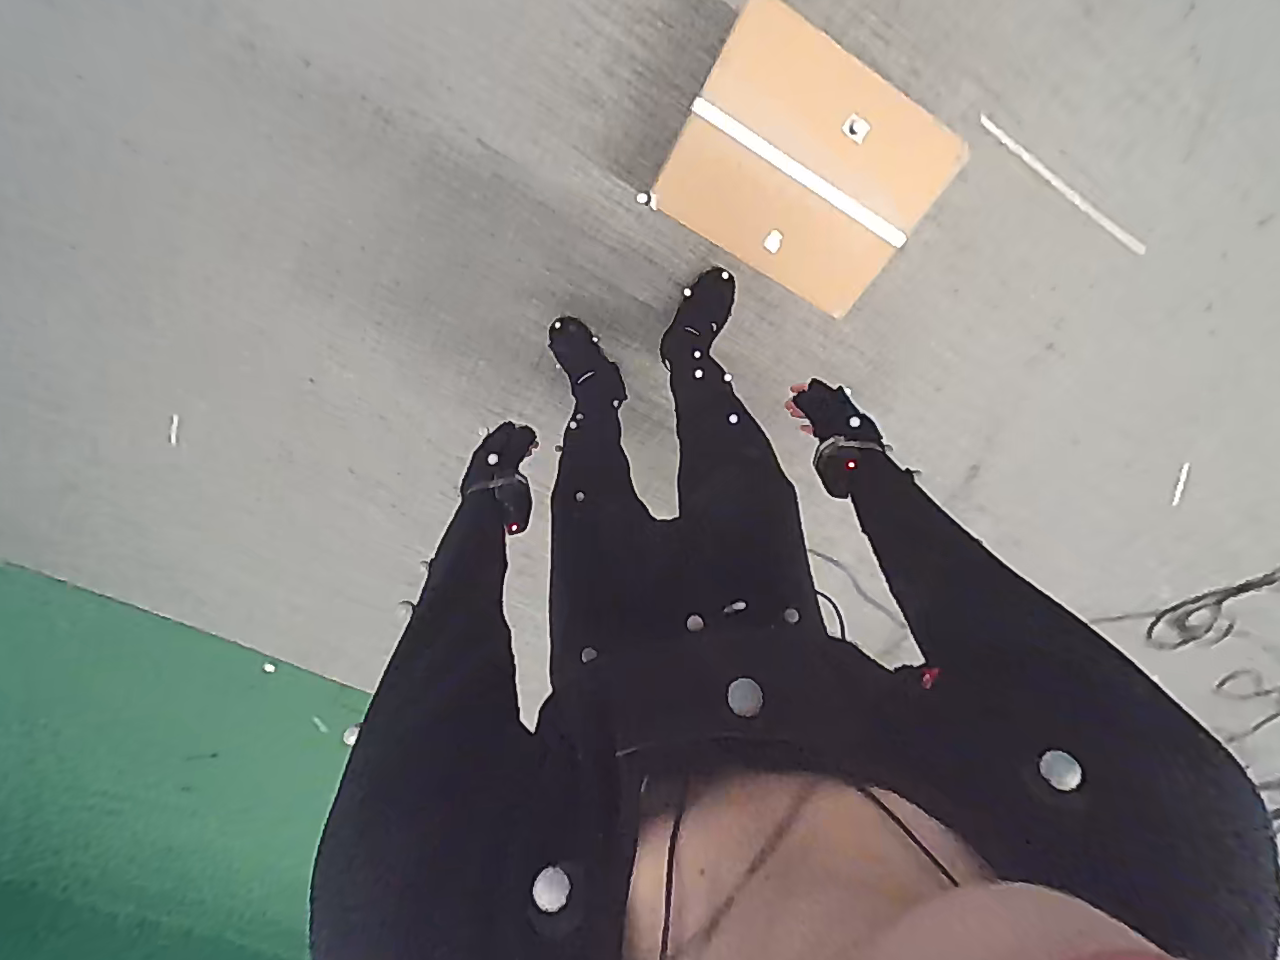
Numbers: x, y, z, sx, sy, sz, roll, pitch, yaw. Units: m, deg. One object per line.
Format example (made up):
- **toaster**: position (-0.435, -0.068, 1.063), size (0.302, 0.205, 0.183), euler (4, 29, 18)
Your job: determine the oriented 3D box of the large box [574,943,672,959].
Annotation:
- **large box**: position (-0.050, 2.054, 2.080), size (0.408, 0.320, 0.320), euler (32, 121, -17)
